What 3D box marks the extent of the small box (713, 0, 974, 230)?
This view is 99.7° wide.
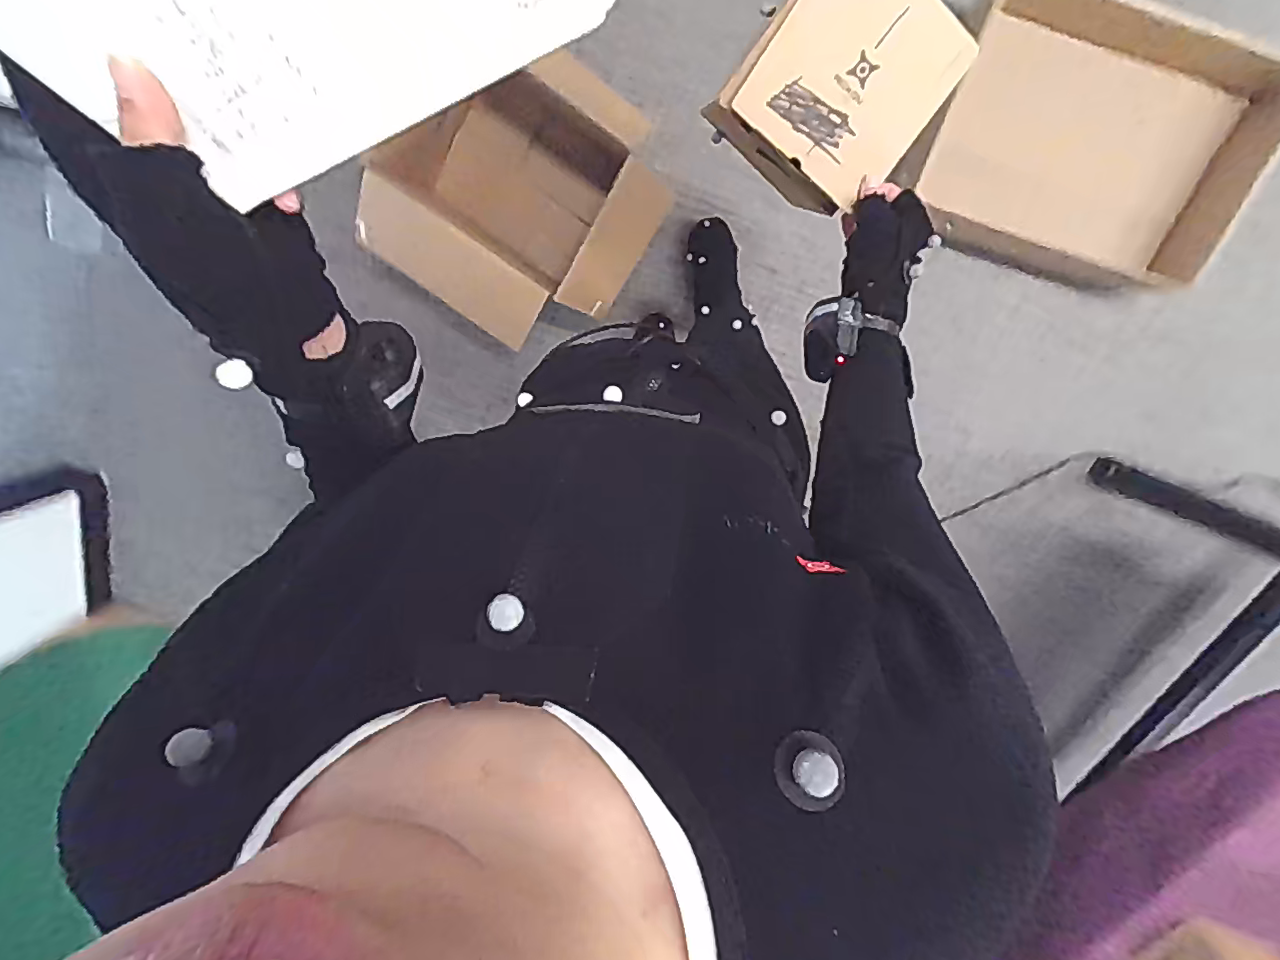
[{"bbox_3d":[0.194,-0.401,0.573,0.168,0.176,0.179,35,114,-21],"label":"small box"}]

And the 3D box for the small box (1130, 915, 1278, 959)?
[{"bbox_3d":[1.015,0.896,0.924,0.179,0.176,0.168,24,109,-5],"label":"small box"}]
